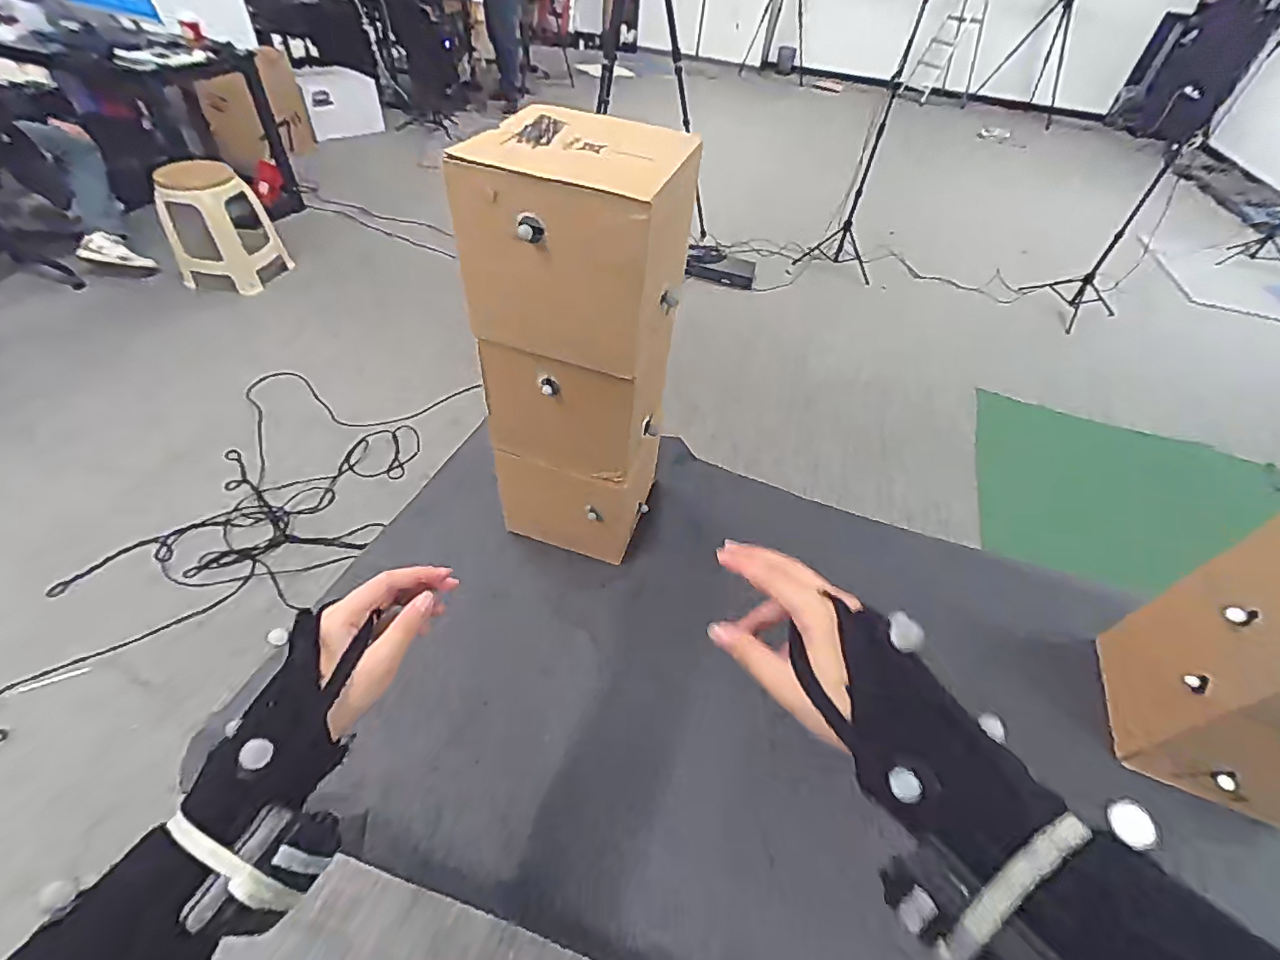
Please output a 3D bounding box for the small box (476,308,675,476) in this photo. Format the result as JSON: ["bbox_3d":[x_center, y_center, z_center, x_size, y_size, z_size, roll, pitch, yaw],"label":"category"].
[{"bbox_3d":[-0.069,-0.129,0.645,0.179,0.176,0.168,16,50,7],"label":"small box"}]

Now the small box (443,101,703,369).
[{"bbox_3d":[-0.056,-0.231,0.517,0.179,0.176,0.168,18,50,8],"label":"small box"}]

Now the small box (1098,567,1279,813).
[{"bbox_3d":[0.666,0.237,0.610,0.168,0.176,0.179,20,49,12],"label":"small box"}]
